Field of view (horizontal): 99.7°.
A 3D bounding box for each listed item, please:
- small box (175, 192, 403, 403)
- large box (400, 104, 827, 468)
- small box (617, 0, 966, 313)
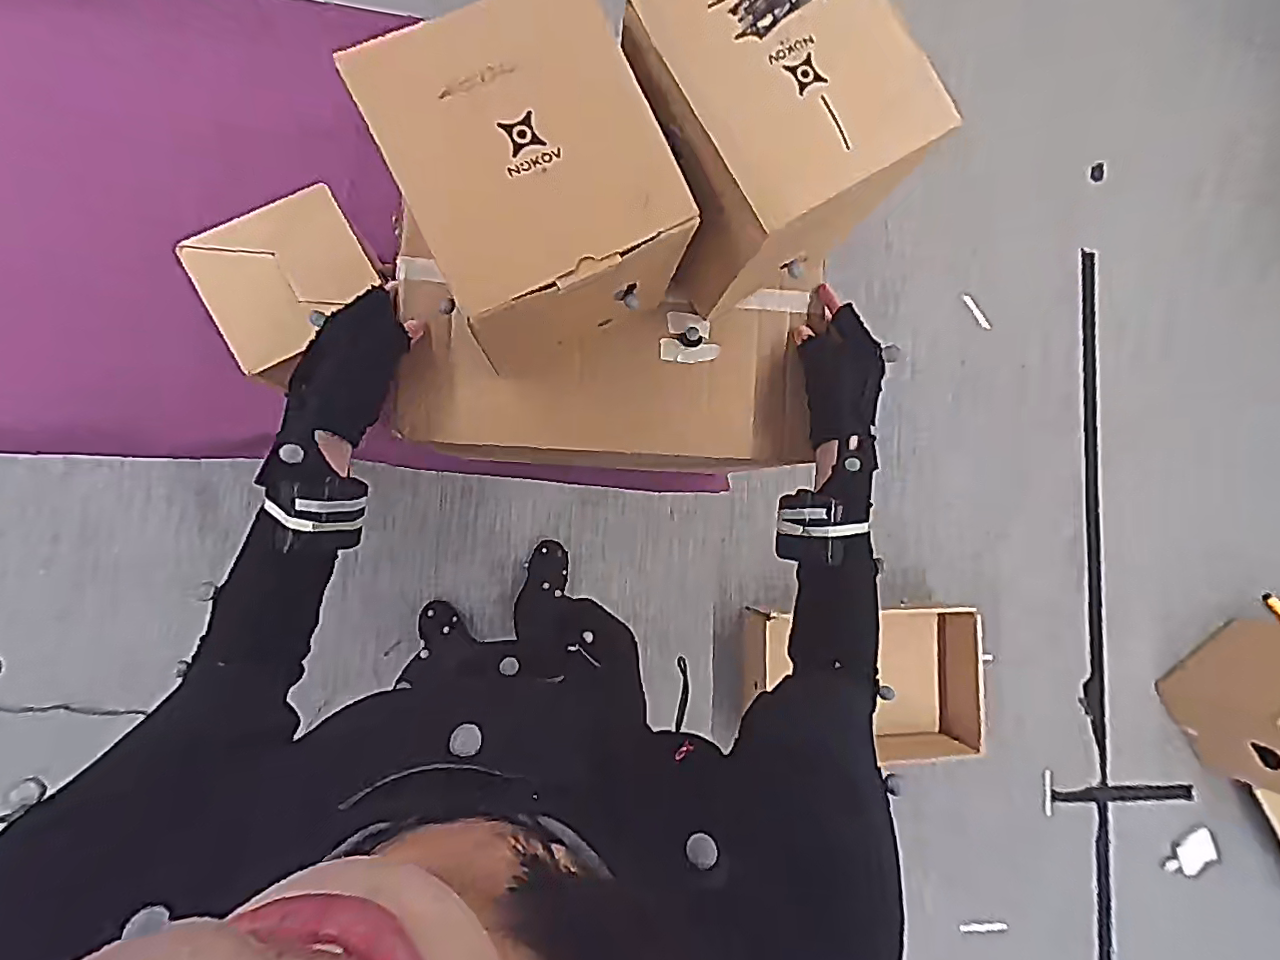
[{"bbox_3d":[-0.402,-0.218,0.671,0.179,0.176,0.168,-28,89,-7],"label":"small box"},{"bbox_3d":[-0.036,-0.178,0.654,0.408,0.320,0.320,2,89,-8],"label":"large box"},{"bbox_3d":[0.094,-0.265,0.425,0.168,0.176,0.179,-32,91,-7],"label":"small box"}]
